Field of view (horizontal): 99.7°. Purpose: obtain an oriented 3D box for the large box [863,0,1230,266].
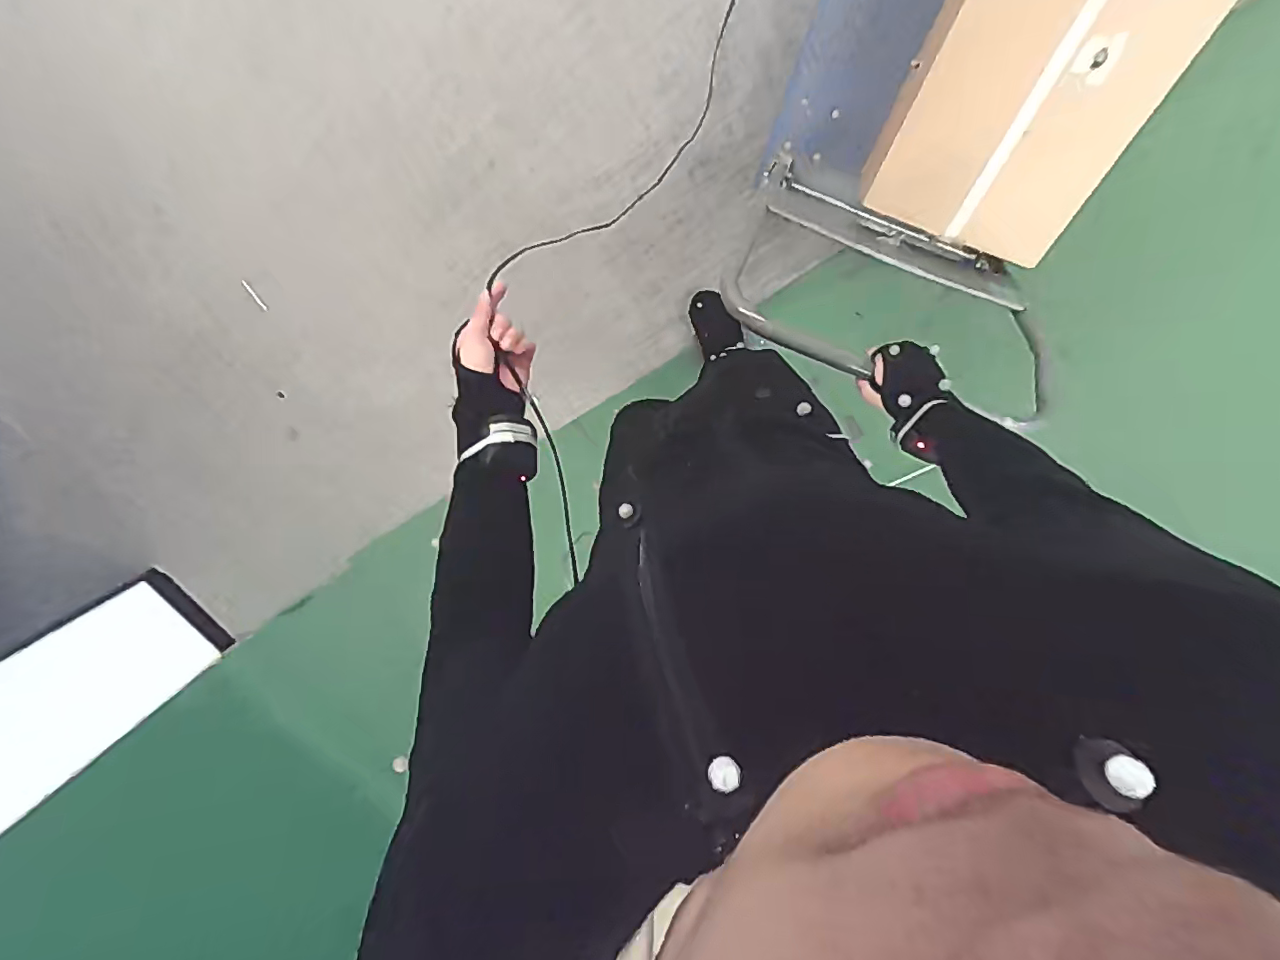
[{"bbox_3d":[0.624,-0.647,0.922,0.320,0.320,0.408,23,129,2],"label":"large box"}]
